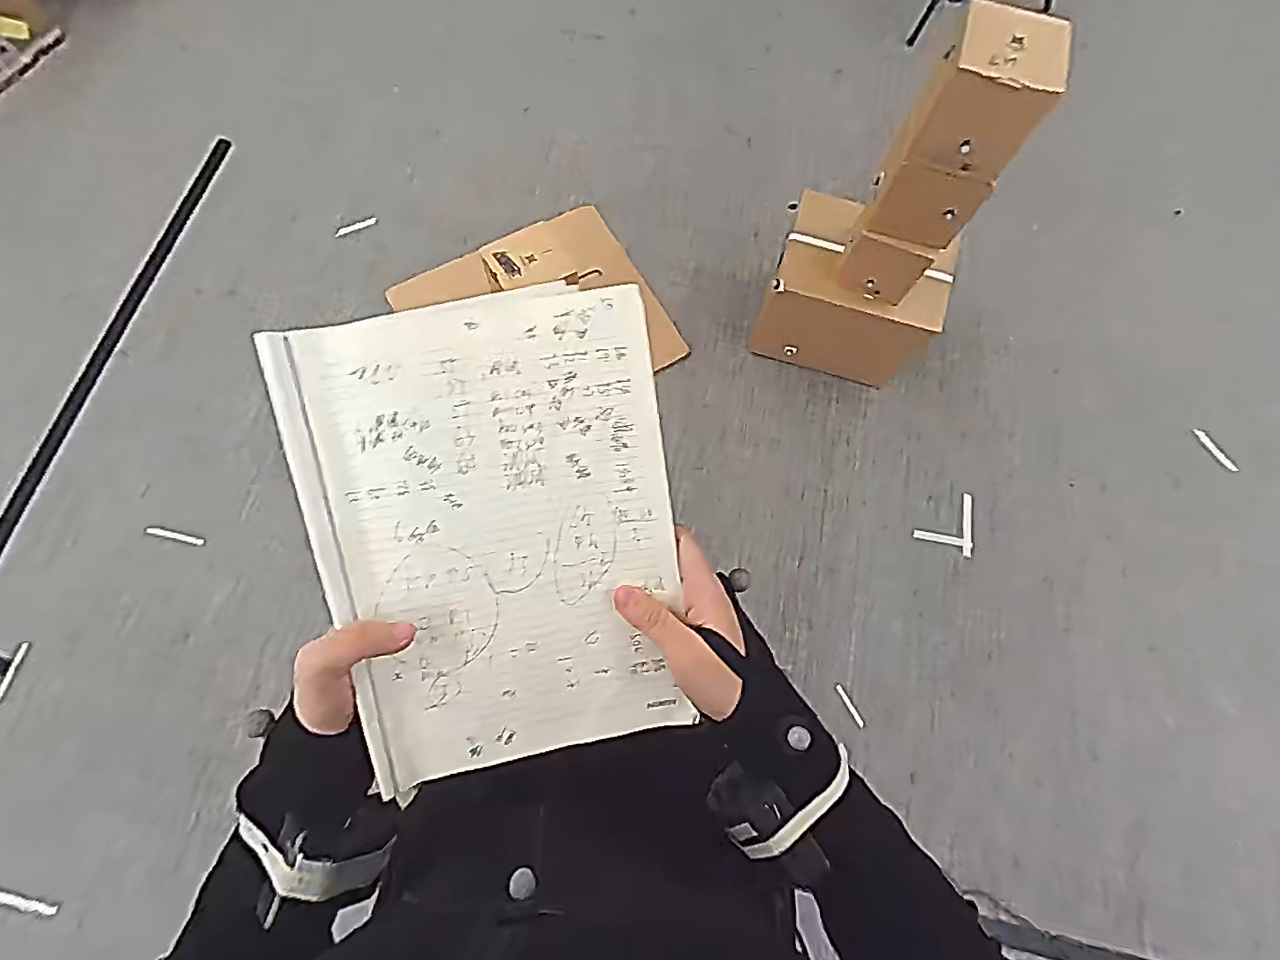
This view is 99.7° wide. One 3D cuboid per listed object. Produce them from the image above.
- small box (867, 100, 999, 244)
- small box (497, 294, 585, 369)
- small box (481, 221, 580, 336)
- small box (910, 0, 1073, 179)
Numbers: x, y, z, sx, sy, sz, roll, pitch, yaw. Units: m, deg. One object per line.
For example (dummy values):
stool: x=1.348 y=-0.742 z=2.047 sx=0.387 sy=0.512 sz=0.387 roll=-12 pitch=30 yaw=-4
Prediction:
small box: x=0.582 y=-0.603 z=1.076 sx=0.179 sy=0.176 sz=0.168 roll=15 pitch=73 yaw=4
small box: x=-0.266 y=-0.438 z=1.482 sx=0.179 sy=0.176 sz=0.168 roll=-30 pitch=77 yaw=-12
small box: x=-0.258 y=-0.485 z=1.324 sx=0.179 sy=0.176 sz=0.168 roll=-29 pitch=77 yaw=-12
small box: x=0.588 y=-0.662 z=0.922 sx=0.168 sy=0.176 sz=0.179 roll=18 pitch=73 yaw=4
